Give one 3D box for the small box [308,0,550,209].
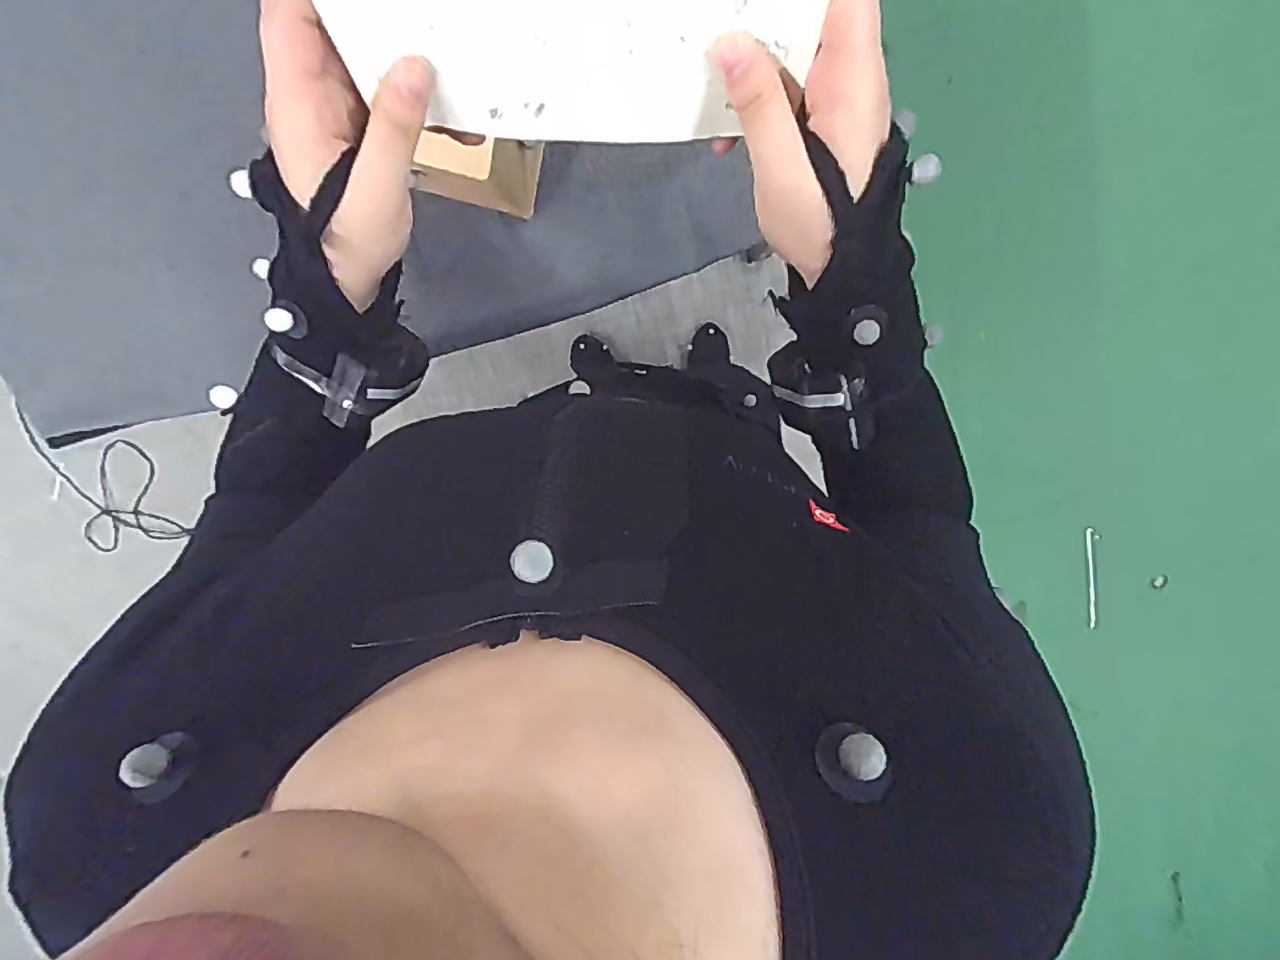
[{"bbox_3d":[-0.204,-0.398,0.562,0.179,0.176,0.168,14,106,0],"label":"small box"}]
